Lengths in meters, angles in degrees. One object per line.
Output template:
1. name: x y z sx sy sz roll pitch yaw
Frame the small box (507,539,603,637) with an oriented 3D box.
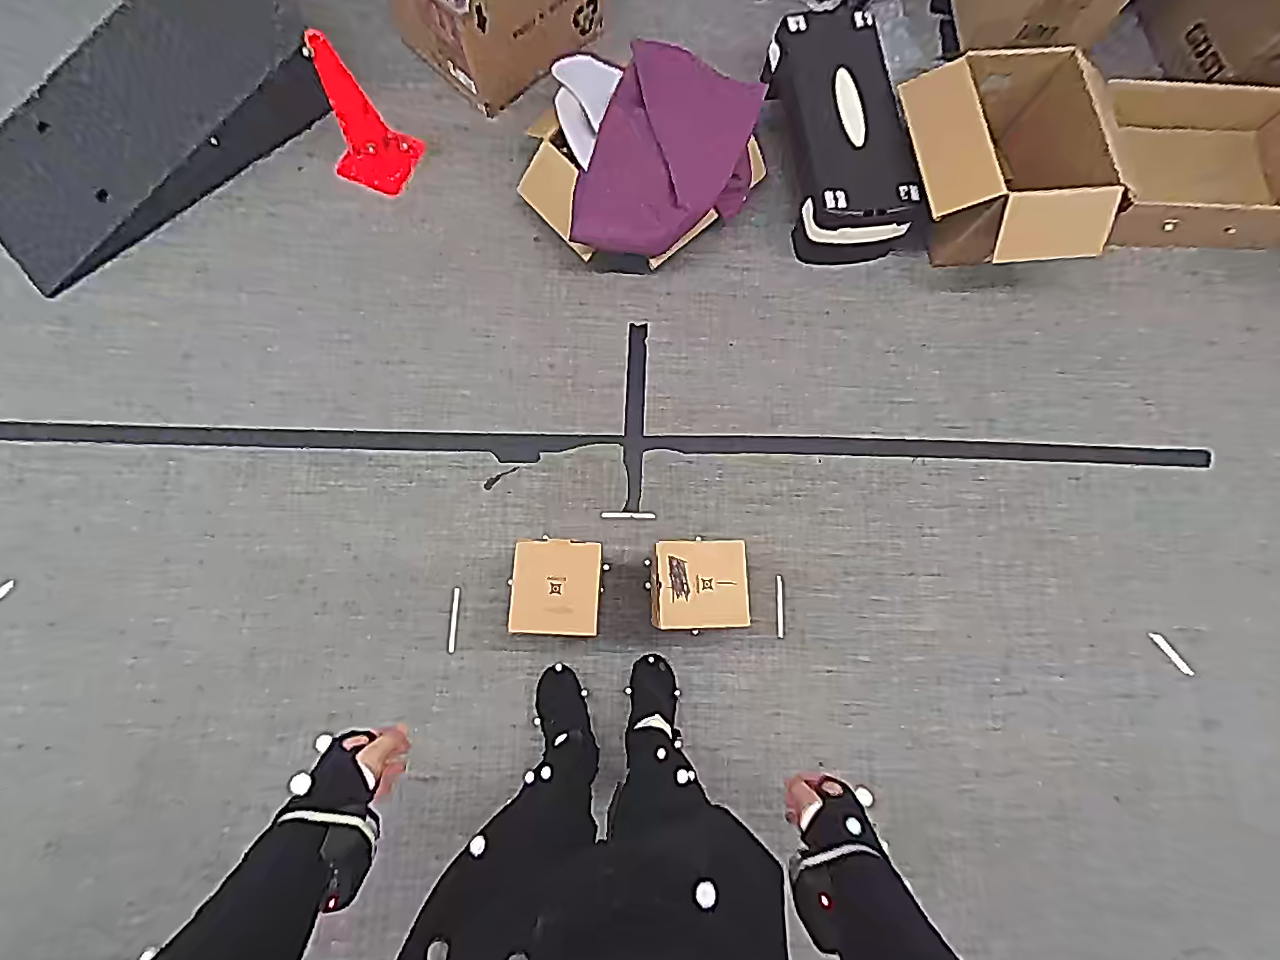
1. small box: -0.163 0.216 1.089 0.168 0.176 0.179 3 79 -1

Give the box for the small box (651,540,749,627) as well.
1. small box: 0.113 0.213 1.104 0.179 0.176 0.168 0 78 -4
